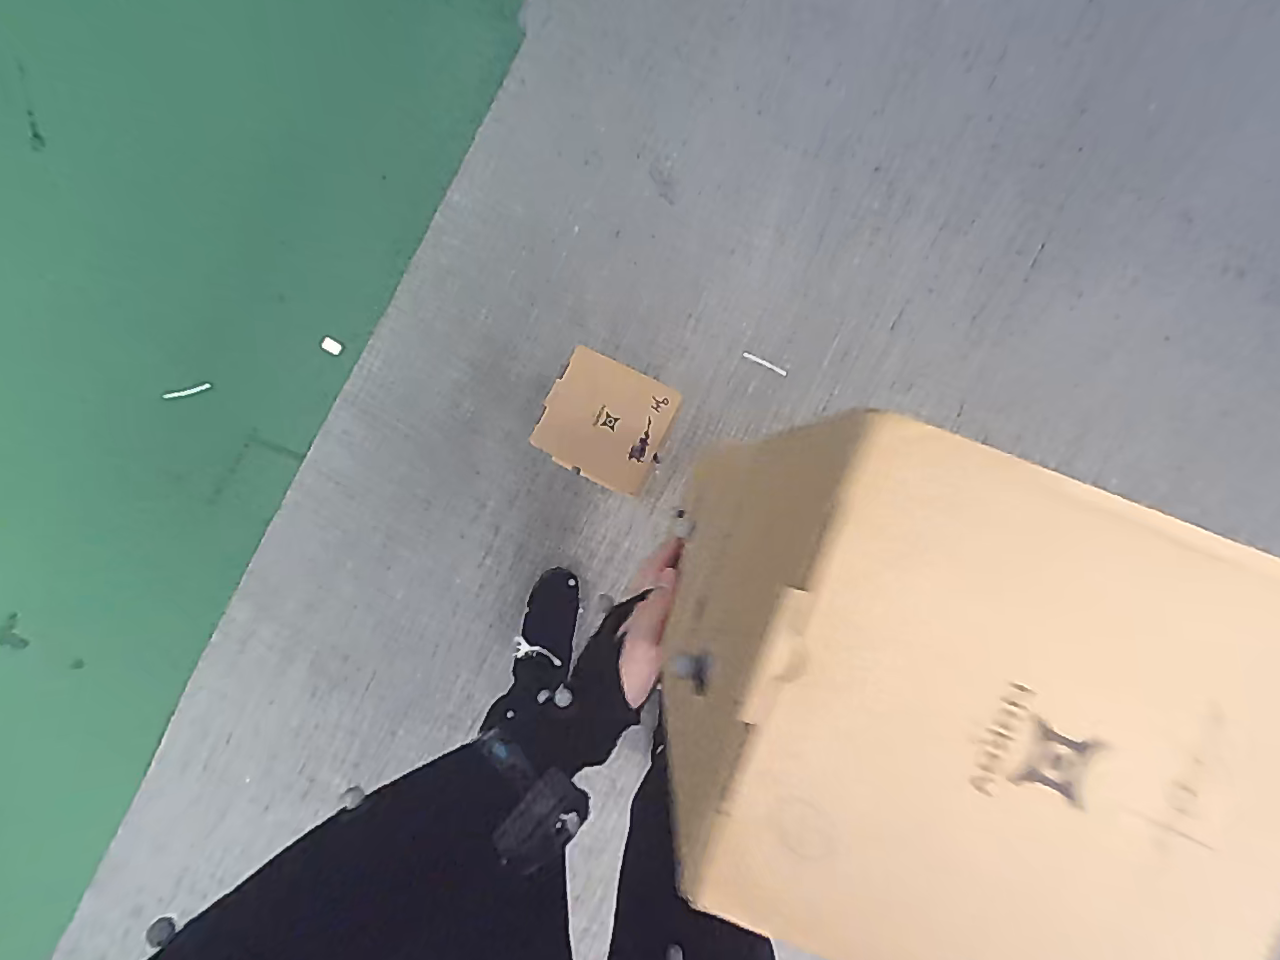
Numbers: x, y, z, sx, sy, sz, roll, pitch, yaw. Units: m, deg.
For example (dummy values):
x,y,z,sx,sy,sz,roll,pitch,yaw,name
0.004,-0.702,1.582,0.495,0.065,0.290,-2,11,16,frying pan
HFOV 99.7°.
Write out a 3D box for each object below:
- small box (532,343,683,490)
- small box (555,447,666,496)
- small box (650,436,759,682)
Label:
x,y,z,sx,sy,sz,roll,pitch,yaw,name
-0.044,-0.090,0.874,0.179,0.176,0.168,27,89,4,small box
-0.039,-0.078,1.038,0.168,0.176,0.179,25,88,4,small box
0.115,0.073,0.409,0.179,0.176,0.168,19,91,1,small box
